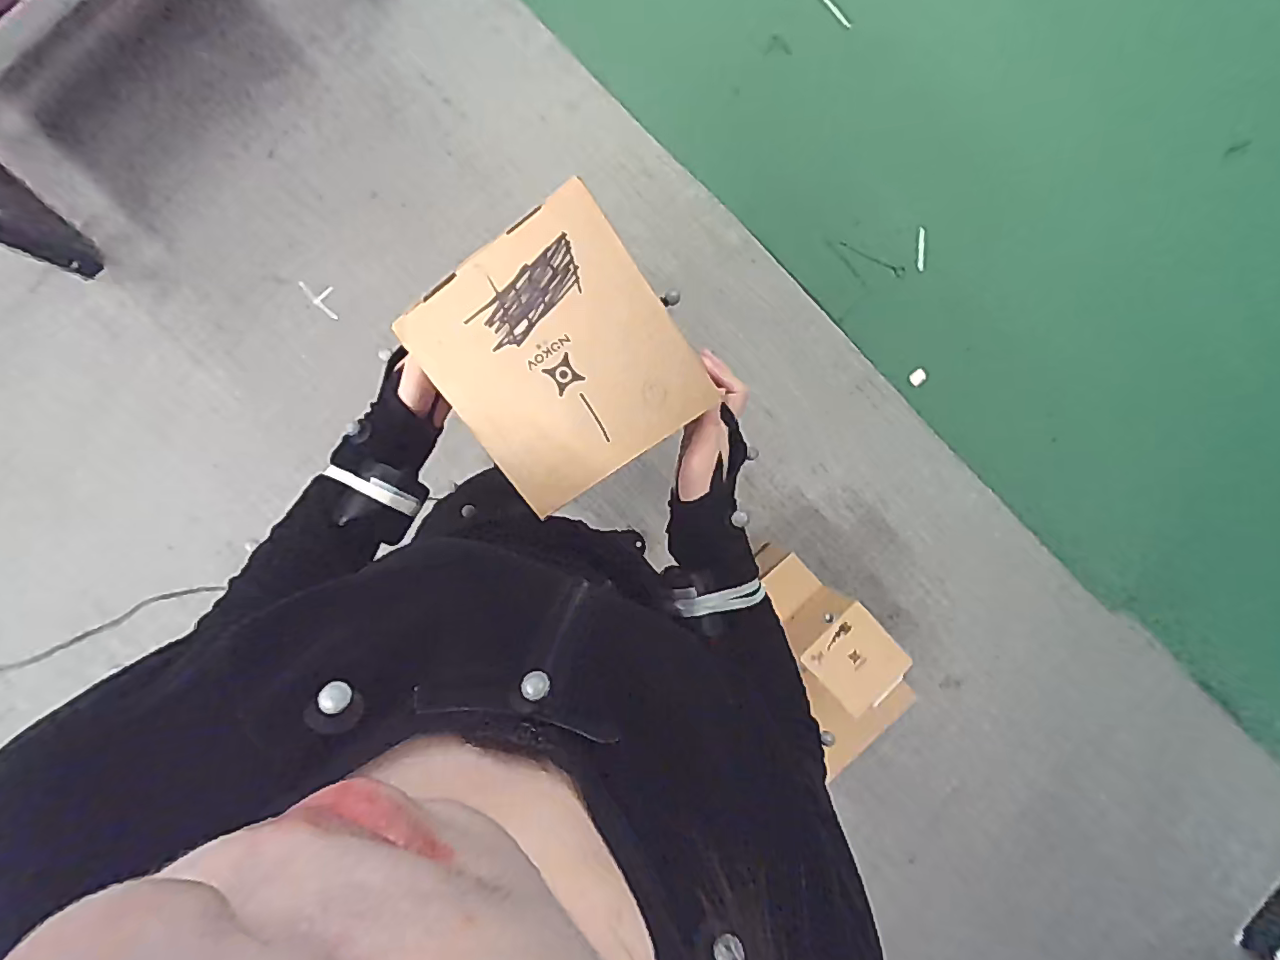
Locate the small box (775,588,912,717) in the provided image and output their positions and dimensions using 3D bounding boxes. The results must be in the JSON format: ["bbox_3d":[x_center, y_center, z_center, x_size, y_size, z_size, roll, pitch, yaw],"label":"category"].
[{"bbox_3d":[0.422,0.354,1.147,0.168,0.176,0.179,-42,94,-4],"label":"small box"}]
